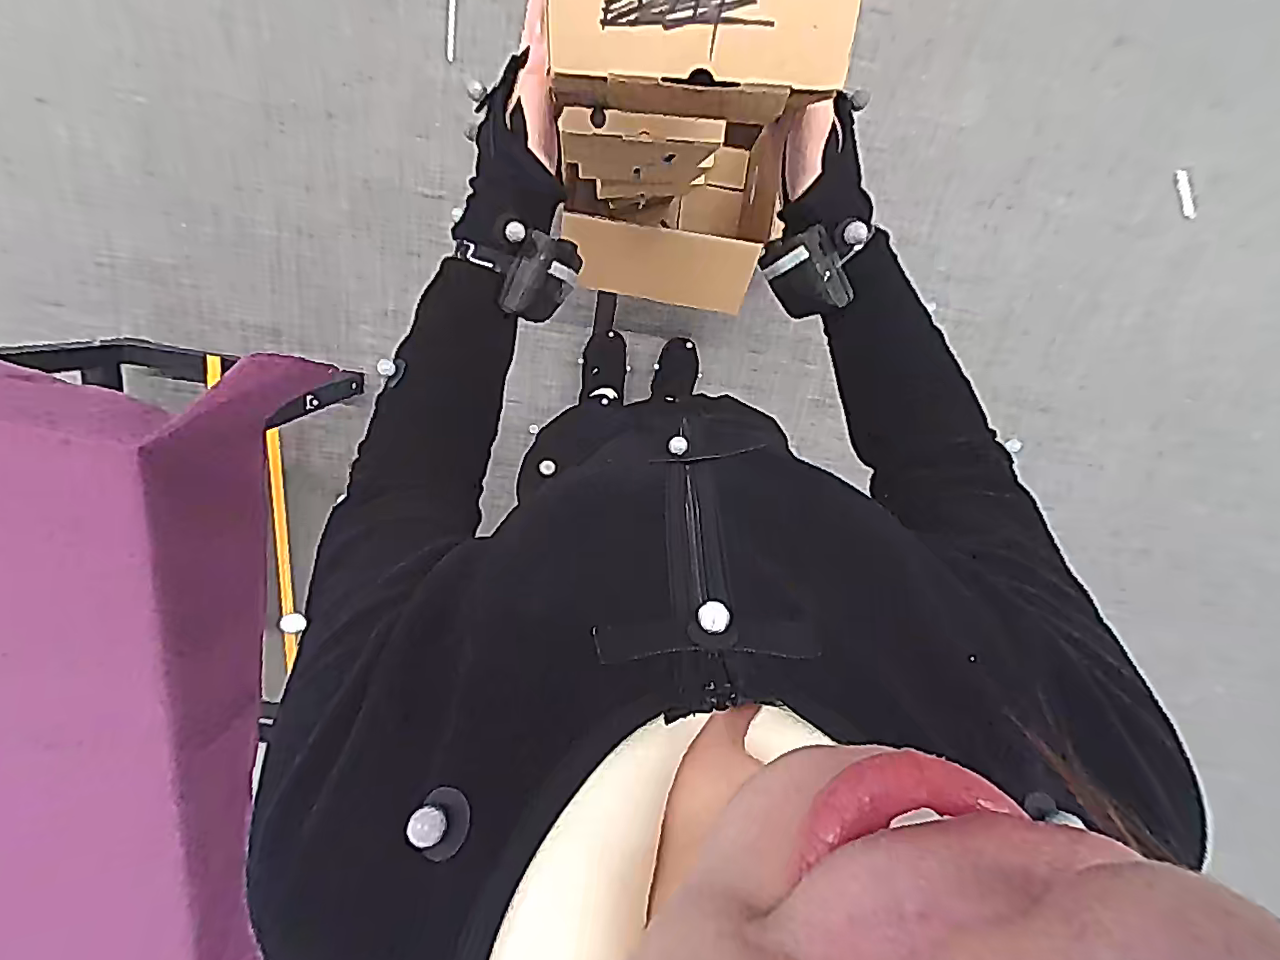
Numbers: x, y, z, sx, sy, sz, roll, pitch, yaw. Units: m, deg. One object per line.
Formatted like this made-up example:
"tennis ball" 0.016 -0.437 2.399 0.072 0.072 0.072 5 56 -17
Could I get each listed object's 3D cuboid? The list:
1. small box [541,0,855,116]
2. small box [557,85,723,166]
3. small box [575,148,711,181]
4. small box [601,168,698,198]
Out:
"small box" 0.028 -0.331 0.322 0.168 0.176 0.179 0 119 -7
"small box" -0.001 -0.449 0.578 0.168 0.176 0.179 1 112 -7
"small box" 0.001 -0.509 0.731 0.179 0.176 0.168 0 113 -6
"small box" 0.002 -0.650 1.030 0.179 0.176 0.168 -13 112 -1
